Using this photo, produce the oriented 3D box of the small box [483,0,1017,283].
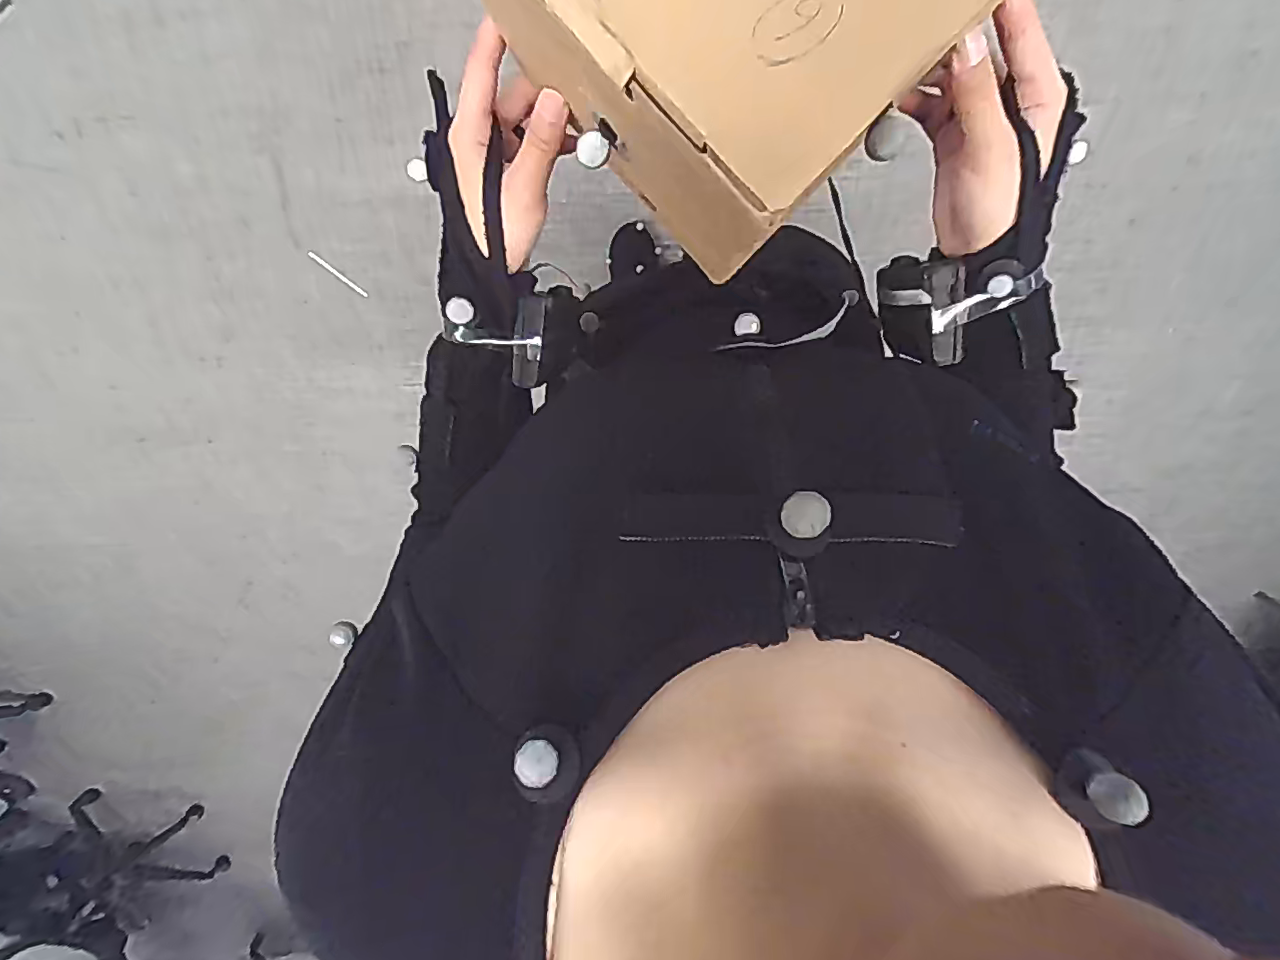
[{"bbox_3d":[0.045,-0.205,0.218,0.179,0.176,0.168,-43,97,12],"label":"small box"}]
